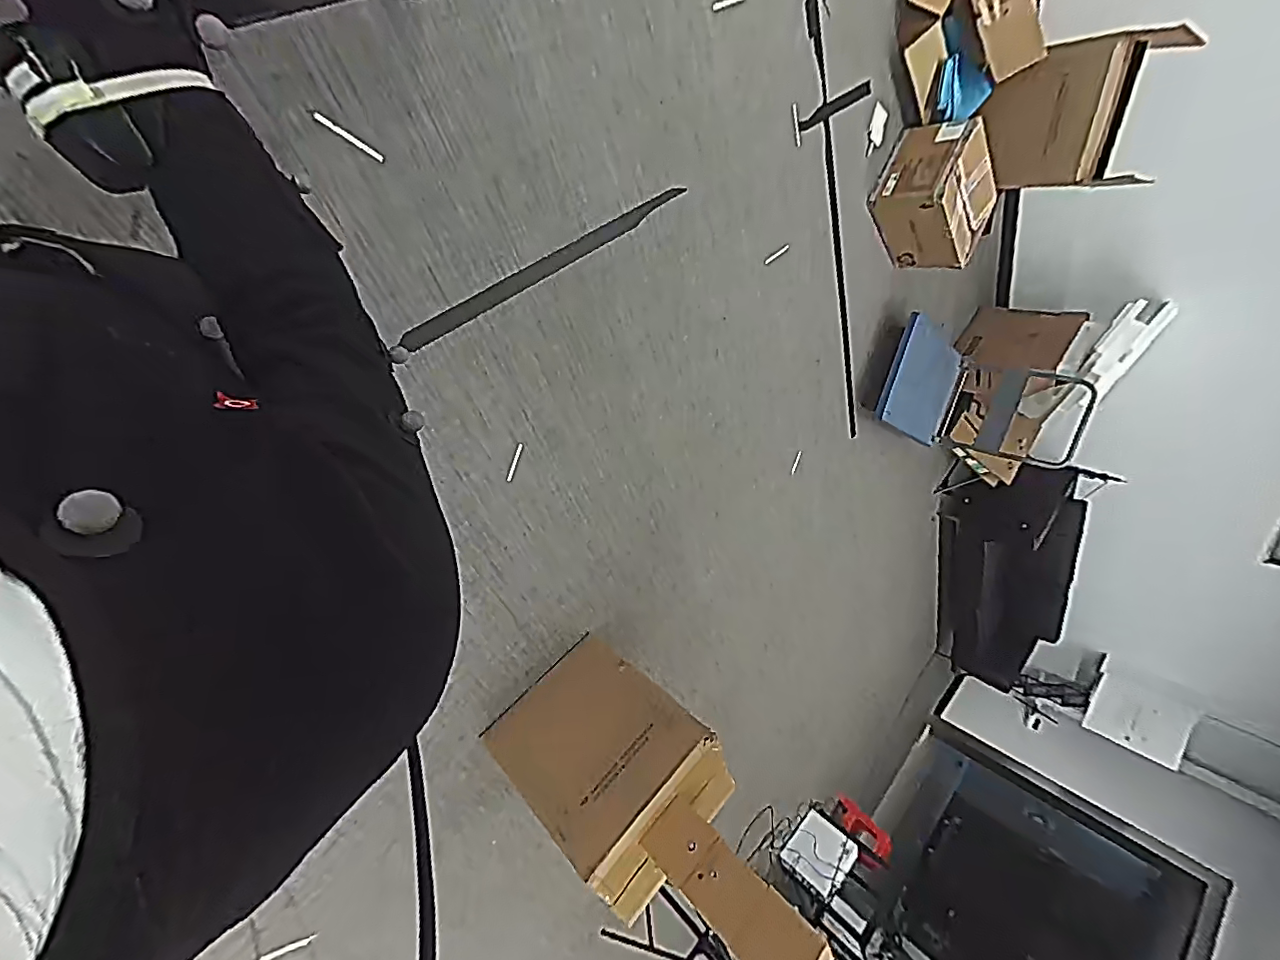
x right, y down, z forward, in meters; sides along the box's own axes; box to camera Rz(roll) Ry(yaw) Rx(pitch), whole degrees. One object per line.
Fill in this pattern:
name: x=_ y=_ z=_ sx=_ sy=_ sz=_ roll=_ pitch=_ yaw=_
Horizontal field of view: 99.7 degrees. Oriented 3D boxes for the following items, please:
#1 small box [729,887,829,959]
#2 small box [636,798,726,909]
small box: x=0.335 y=1.163 z=1.324 sx=0.179 sy=0.176 sz=0.168 roll=-40 pitch=130 yaw=-25
small box: x=0.118 y=1.063 z=1.551 sx=0.179 sy=0.176 sz=0.168 roll=-39 pitch=129 yaw=-24
